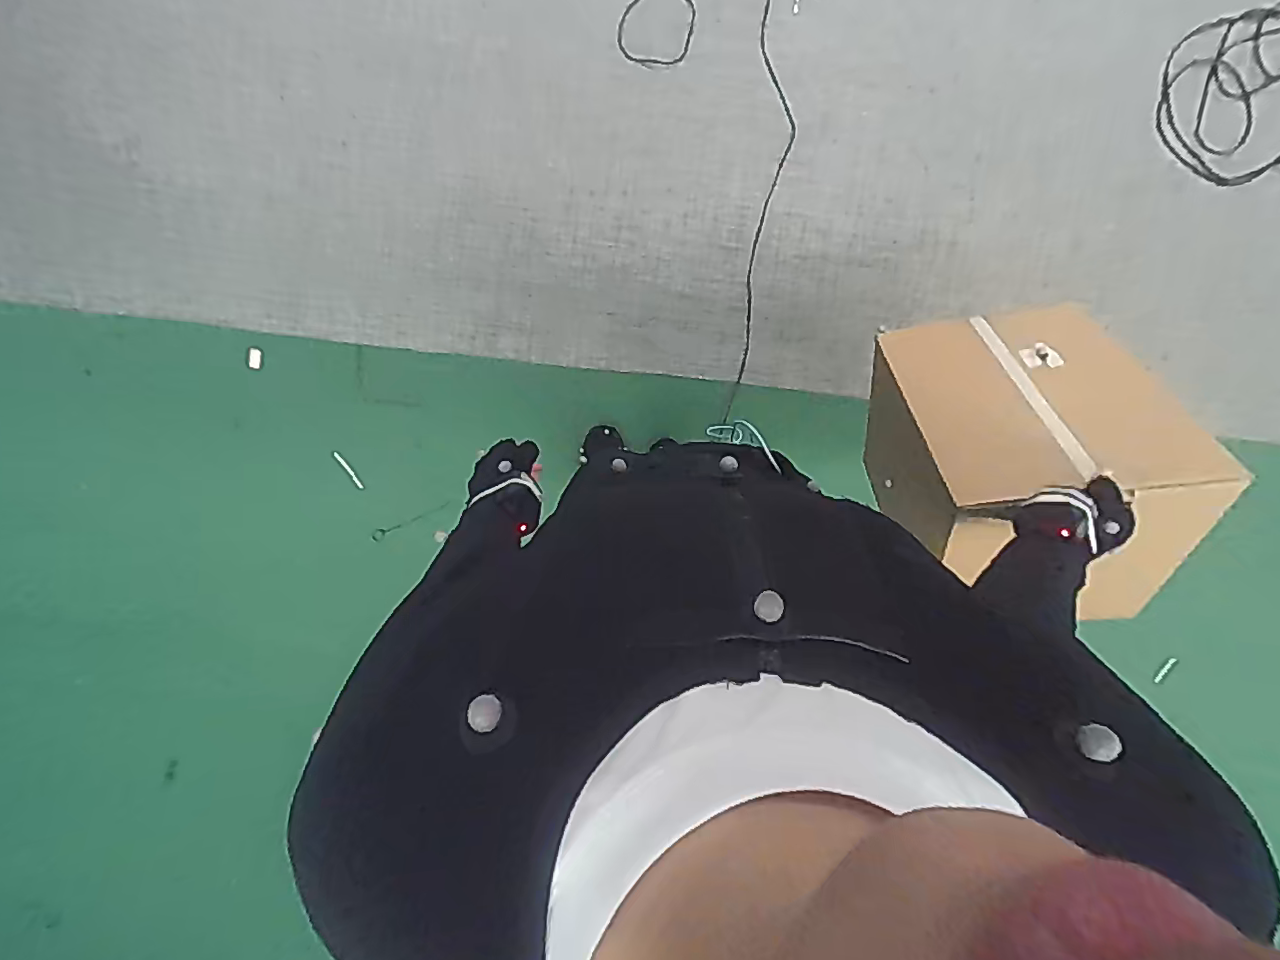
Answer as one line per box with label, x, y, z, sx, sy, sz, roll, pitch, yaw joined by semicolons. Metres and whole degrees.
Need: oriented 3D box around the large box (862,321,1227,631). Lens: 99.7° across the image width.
large box;0.584;-0.009;0.900;0.320;0.408;0.320;-5;134;10
